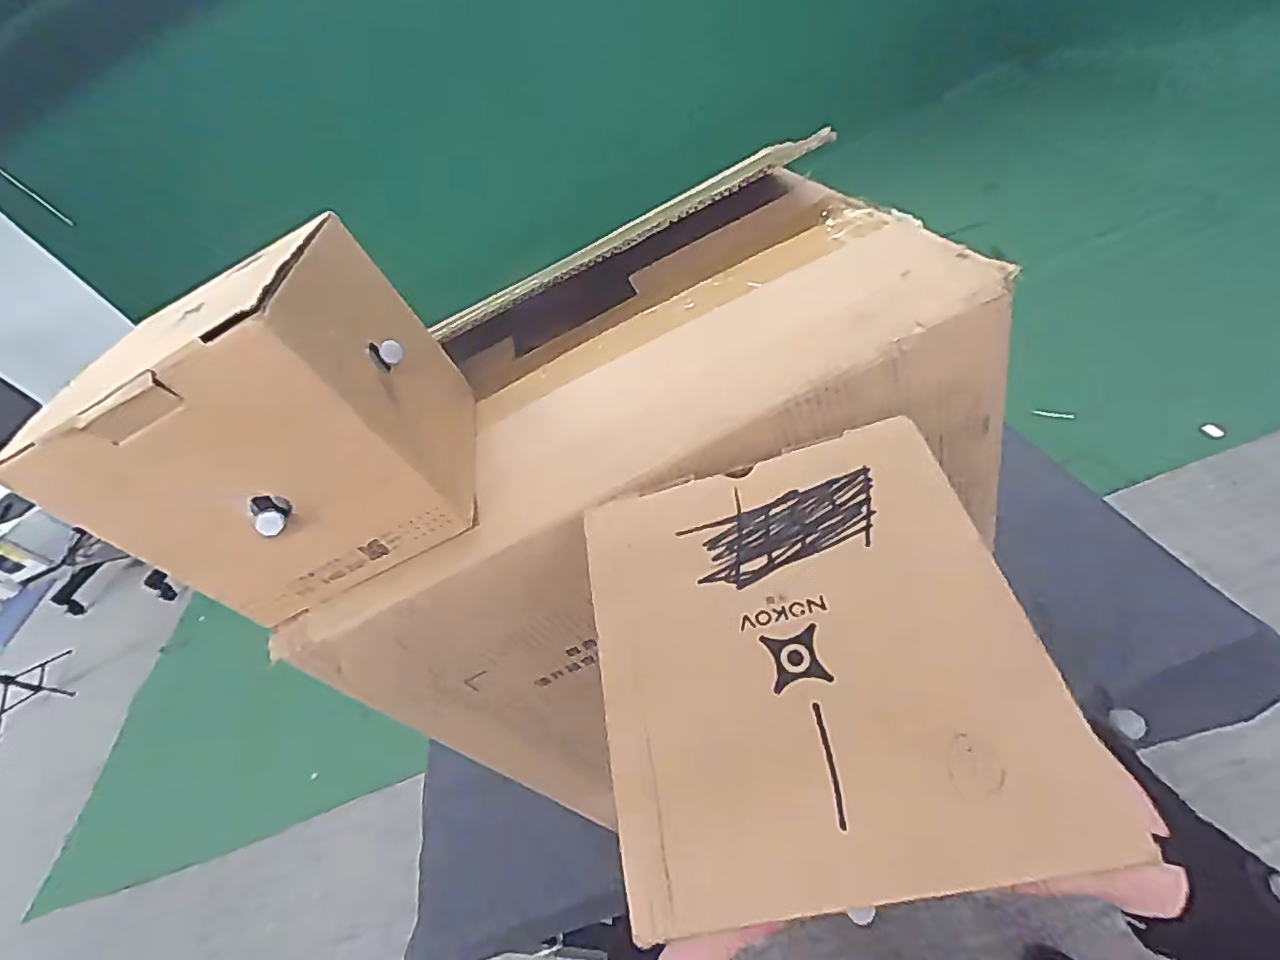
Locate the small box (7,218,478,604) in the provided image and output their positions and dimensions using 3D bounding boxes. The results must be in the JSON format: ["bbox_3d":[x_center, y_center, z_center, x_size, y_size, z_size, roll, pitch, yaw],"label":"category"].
[{"bbox_3d":[-0.226,-0.039,0.370,0.168,0.176,0.179,-26,42,6],"label":"small box"}]
